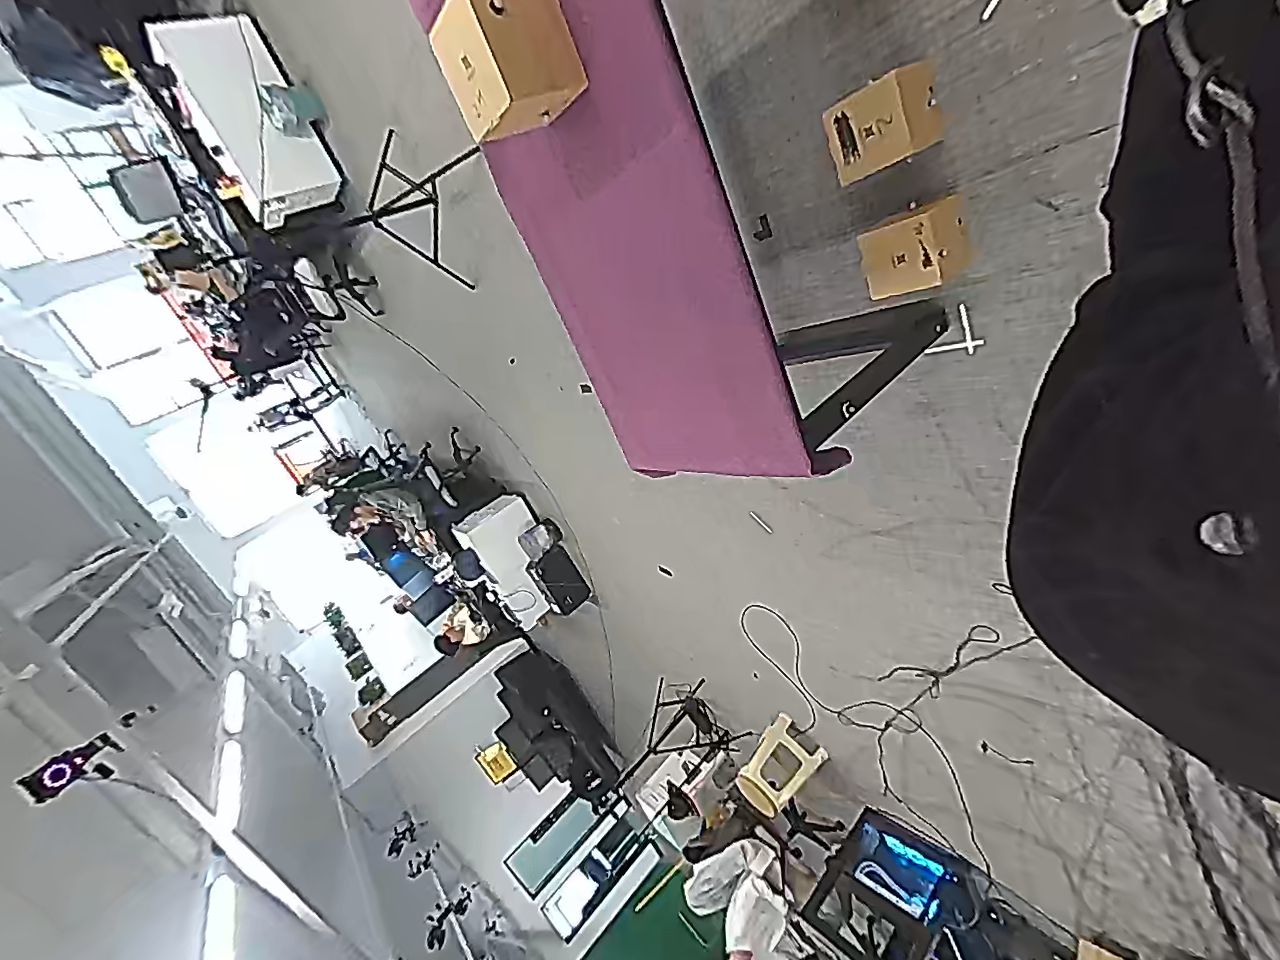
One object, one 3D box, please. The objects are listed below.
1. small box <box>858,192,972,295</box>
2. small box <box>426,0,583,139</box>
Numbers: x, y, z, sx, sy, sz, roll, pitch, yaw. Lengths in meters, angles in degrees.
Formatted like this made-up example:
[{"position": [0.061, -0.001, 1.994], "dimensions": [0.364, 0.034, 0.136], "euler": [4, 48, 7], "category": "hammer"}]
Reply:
[{"position": [0.668, -0.570, 1.313], "dimensions": [0.179, 0.176, 0.168], "euler": [9, 129, 54], "category": "small box"}, {"position": [-0.230, -0.730, 0.932], "dimensions": [0.168, 0.176, 0.179], "euler": [8, 129, 53], "category": "small box"}]
